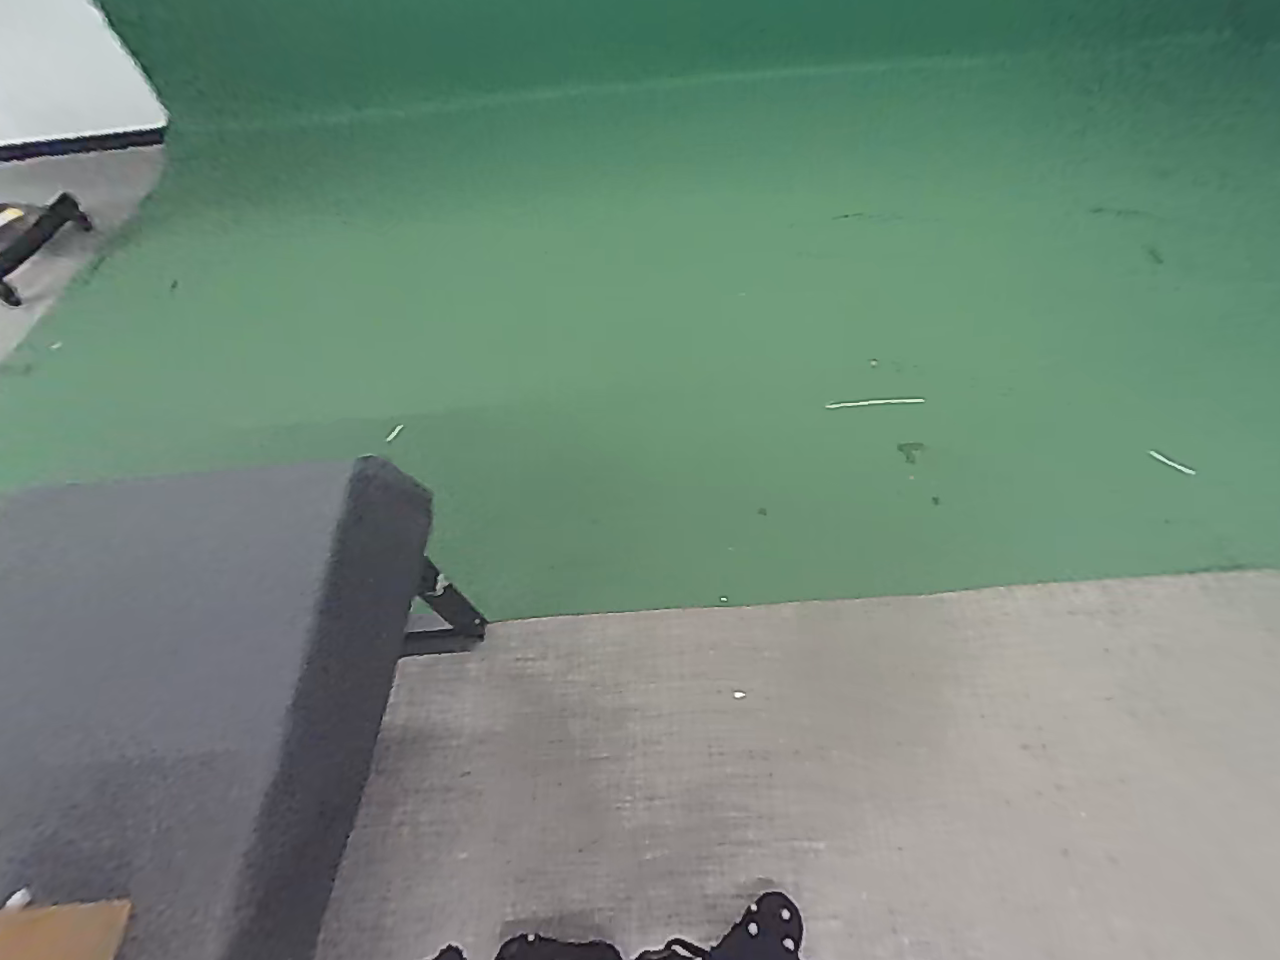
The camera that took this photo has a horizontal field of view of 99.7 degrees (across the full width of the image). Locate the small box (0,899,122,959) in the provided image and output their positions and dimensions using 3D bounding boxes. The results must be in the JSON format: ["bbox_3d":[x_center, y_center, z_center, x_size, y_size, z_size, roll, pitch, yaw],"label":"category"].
[{"bbox_3d":[-0.611,0.474,0.455,0.168,0.176,0.179,-6,55,1],"label":"small box"}]
